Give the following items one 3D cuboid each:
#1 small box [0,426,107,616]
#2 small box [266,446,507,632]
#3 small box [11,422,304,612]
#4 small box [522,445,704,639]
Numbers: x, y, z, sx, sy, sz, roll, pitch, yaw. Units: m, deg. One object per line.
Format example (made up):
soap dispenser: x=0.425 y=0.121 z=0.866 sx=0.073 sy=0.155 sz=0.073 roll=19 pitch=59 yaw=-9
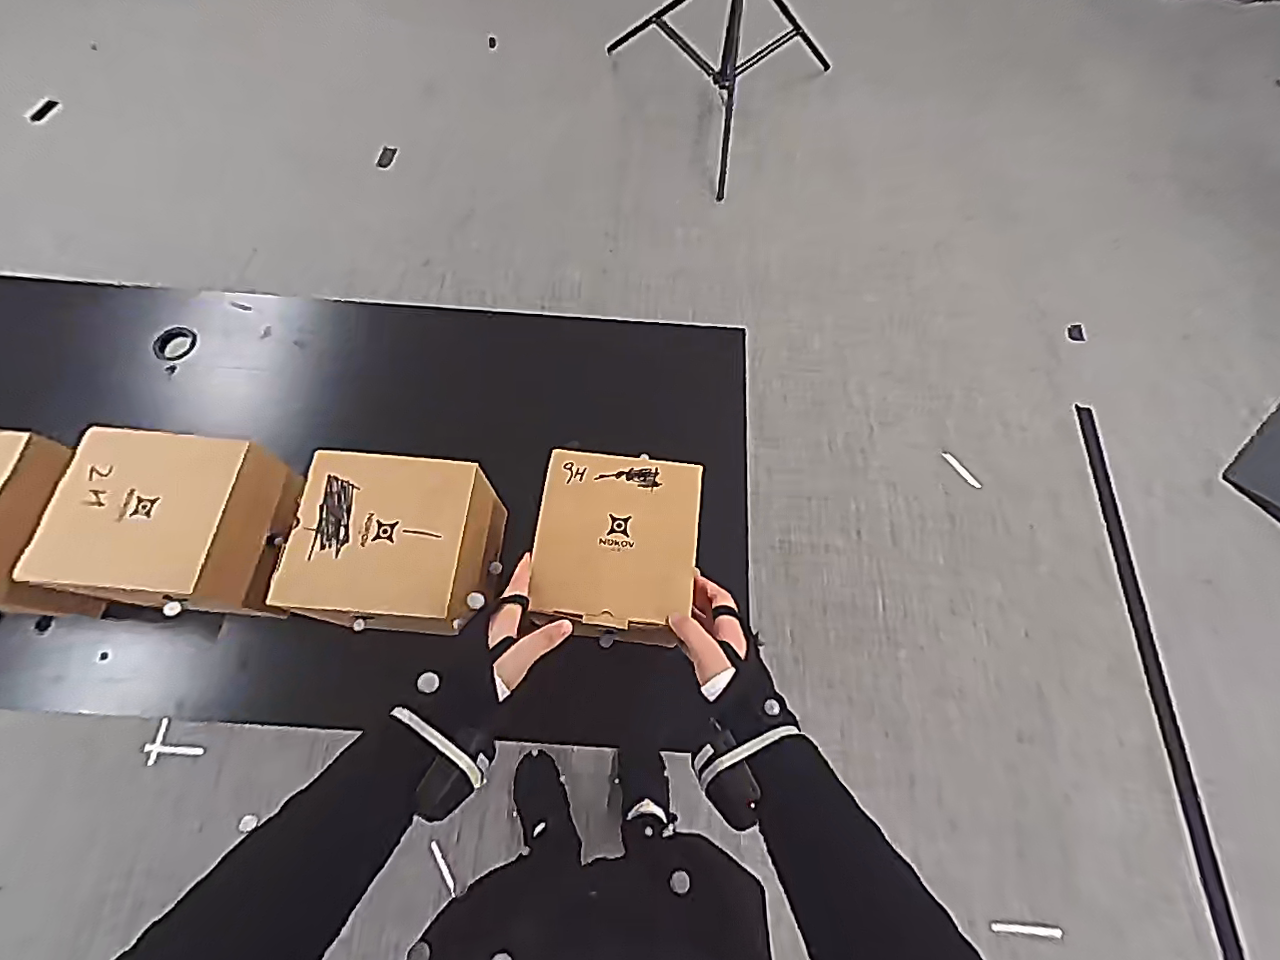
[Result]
small box: x=-0.725 y=0.049 z=0.609 sx=0.168 sy=0.176 sz=0.179 roll=3 pitch=69 yaw=1
small box: x=-0.265 y=0.076 z=0.614 sx=0.179 sy=0.176 sz=0.168 roll=5 pitch=69 yaw=-1
small box: x=-0.505 y=0.052 z=0.614 sx=0.179 sy=0.176 sz=0.168 roll=5 pitch=68 yaw=0
small box: x=-0.025 y=0.081 z=0.619 sx=0.168 sy=0.176 sz=0.179 roll=7 pitch=69 yaw=0
